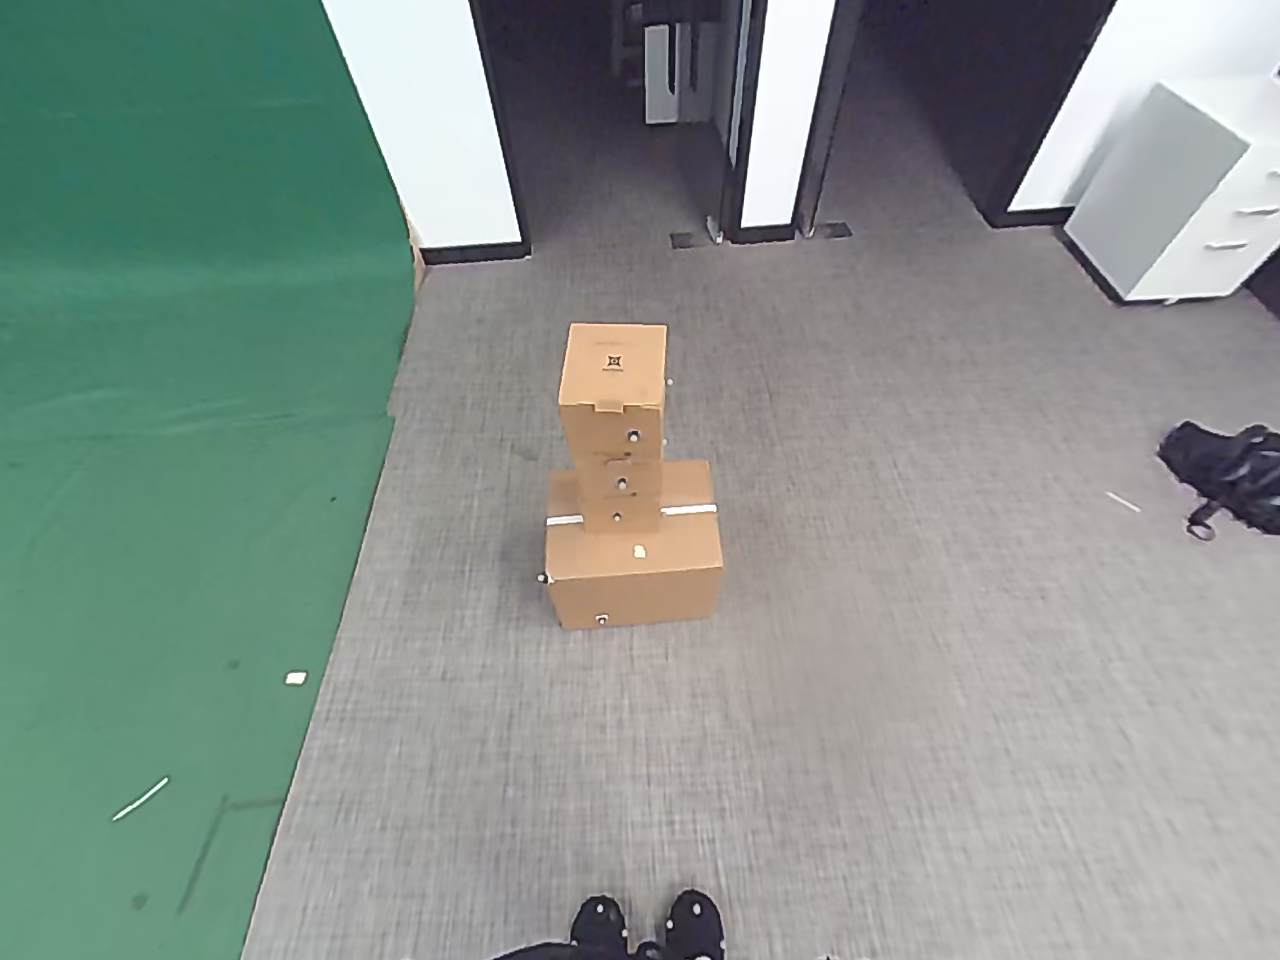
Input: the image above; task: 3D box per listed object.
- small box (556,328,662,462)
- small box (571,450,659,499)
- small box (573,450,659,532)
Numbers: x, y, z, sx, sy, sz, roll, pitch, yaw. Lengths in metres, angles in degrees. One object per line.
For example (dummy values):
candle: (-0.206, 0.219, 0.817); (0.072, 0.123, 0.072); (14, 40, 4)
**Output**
small box: (-0.046, -0.145, 0.959); (0.168, 0.176, 0.179); (2, 59, 2)
small box: (-0.048, -0.071, 1.104); (0.168, 0.176, 0.179); (-4, 61, -1)
small box: (-0.048, 0.012, 1.242); (0.179, 0.176, 0.168); (2, 58, 3)
